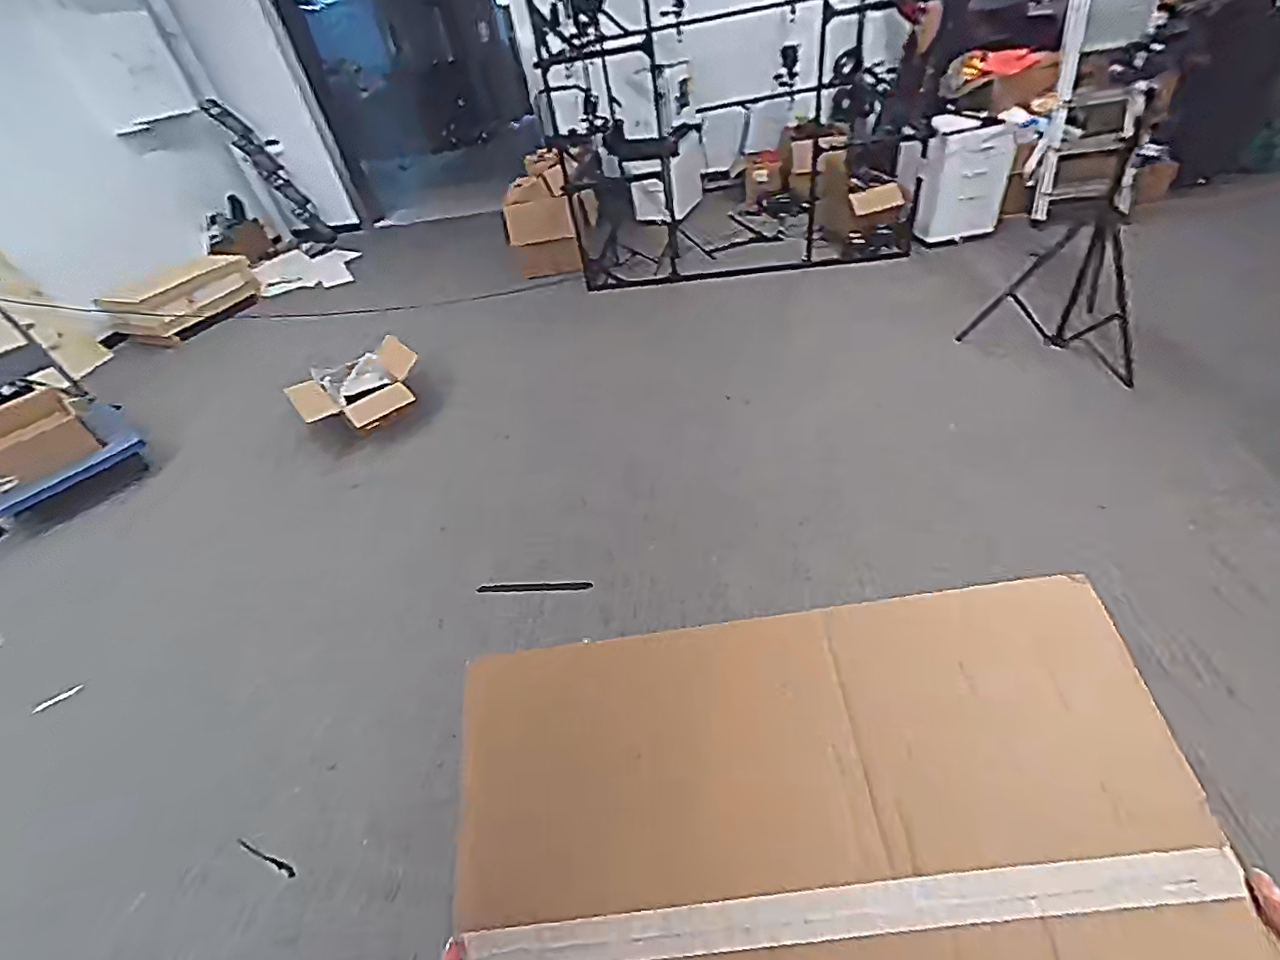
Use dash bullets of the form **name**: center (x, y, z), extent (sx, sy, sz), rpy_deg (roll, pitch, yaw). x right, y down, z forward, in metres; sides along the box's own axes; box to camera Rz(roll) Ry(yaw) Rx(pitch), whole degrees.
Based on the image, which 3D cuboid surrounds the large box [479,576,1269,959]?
- **large box**: center (0.122, 0.299, 0.423), extent (0.408, 0.320, 0.320), rpy_deg (-10, 62, 4)
